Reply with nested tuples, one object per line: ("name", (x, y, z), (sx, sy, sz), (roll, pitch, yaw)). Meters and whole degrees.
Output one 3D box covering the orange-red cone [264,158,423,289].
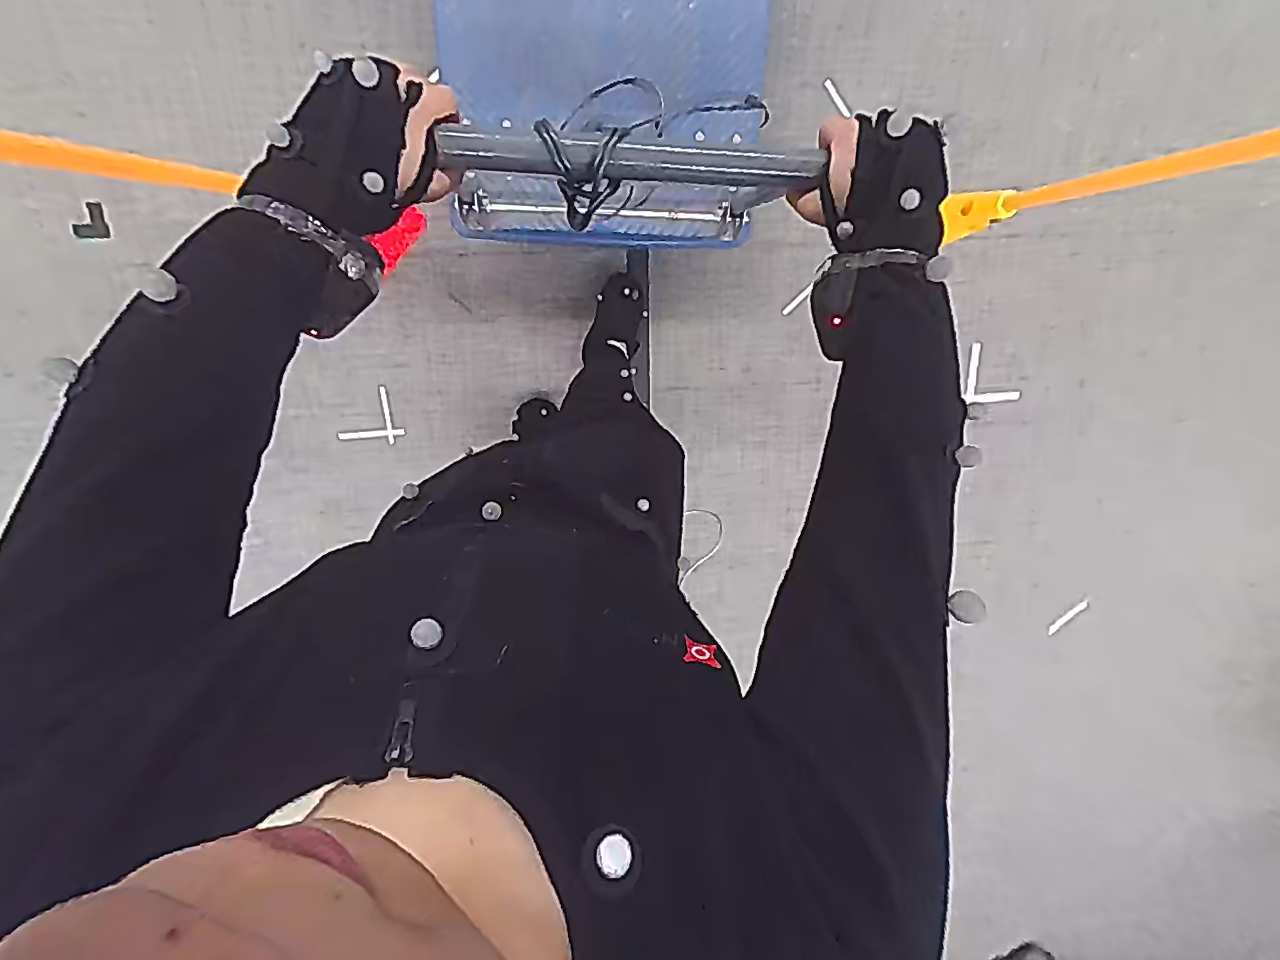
("orange-red cone", (-0.567, -0.484, 0.975), (0.198, 0.360, 0.199), (42, 98, -17))
